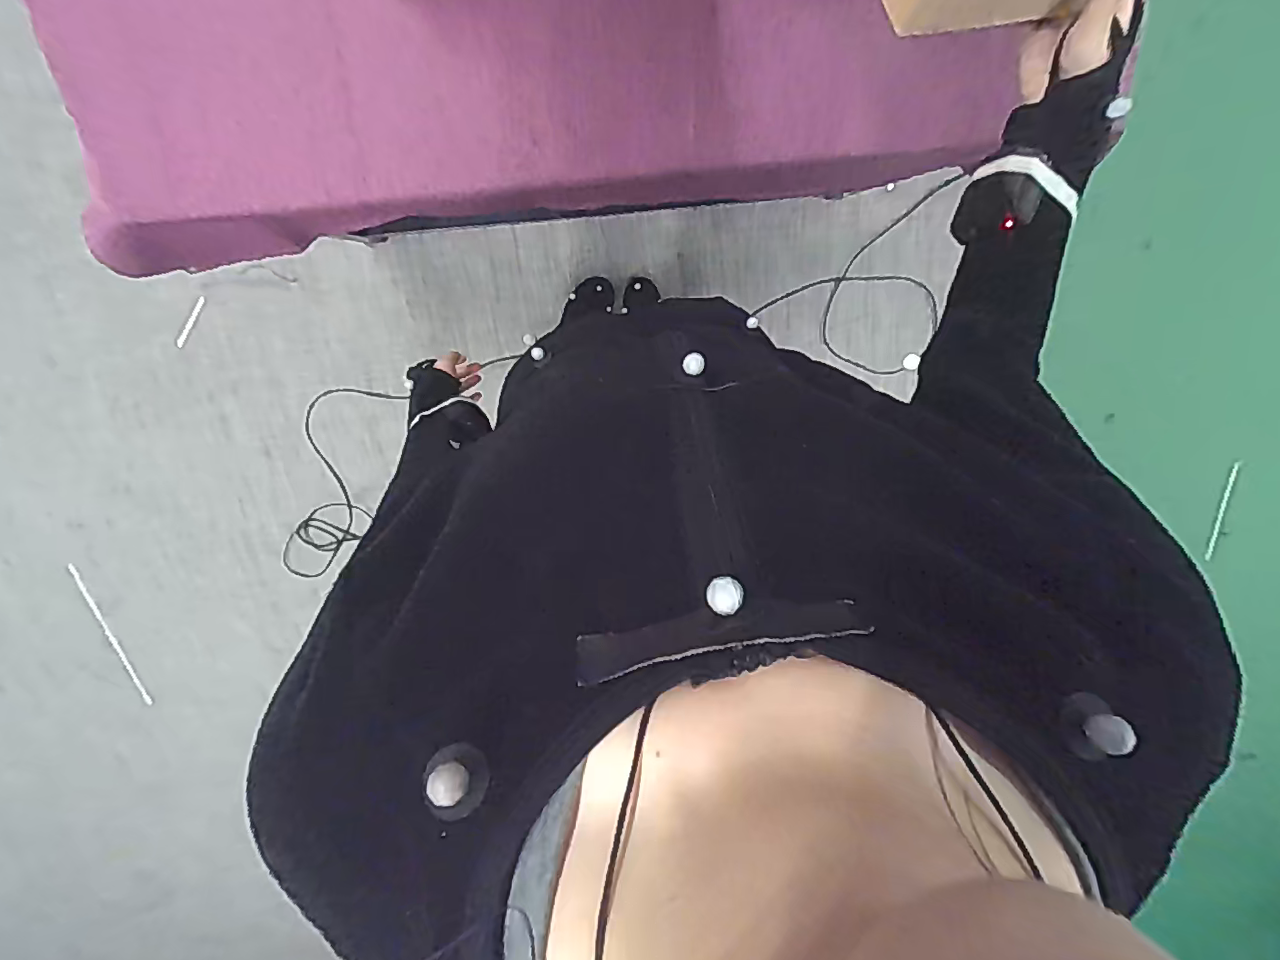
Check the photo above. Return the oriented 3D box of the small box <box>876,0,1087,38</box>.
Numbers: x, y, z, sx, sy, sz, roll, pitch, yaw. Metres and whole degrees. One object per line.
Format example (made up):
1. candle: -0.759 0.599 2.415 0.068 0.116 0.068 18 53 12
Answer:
1. small box: 0.249 -0.432 0.337 0.179 0.168 0.176 -16 82 -12
